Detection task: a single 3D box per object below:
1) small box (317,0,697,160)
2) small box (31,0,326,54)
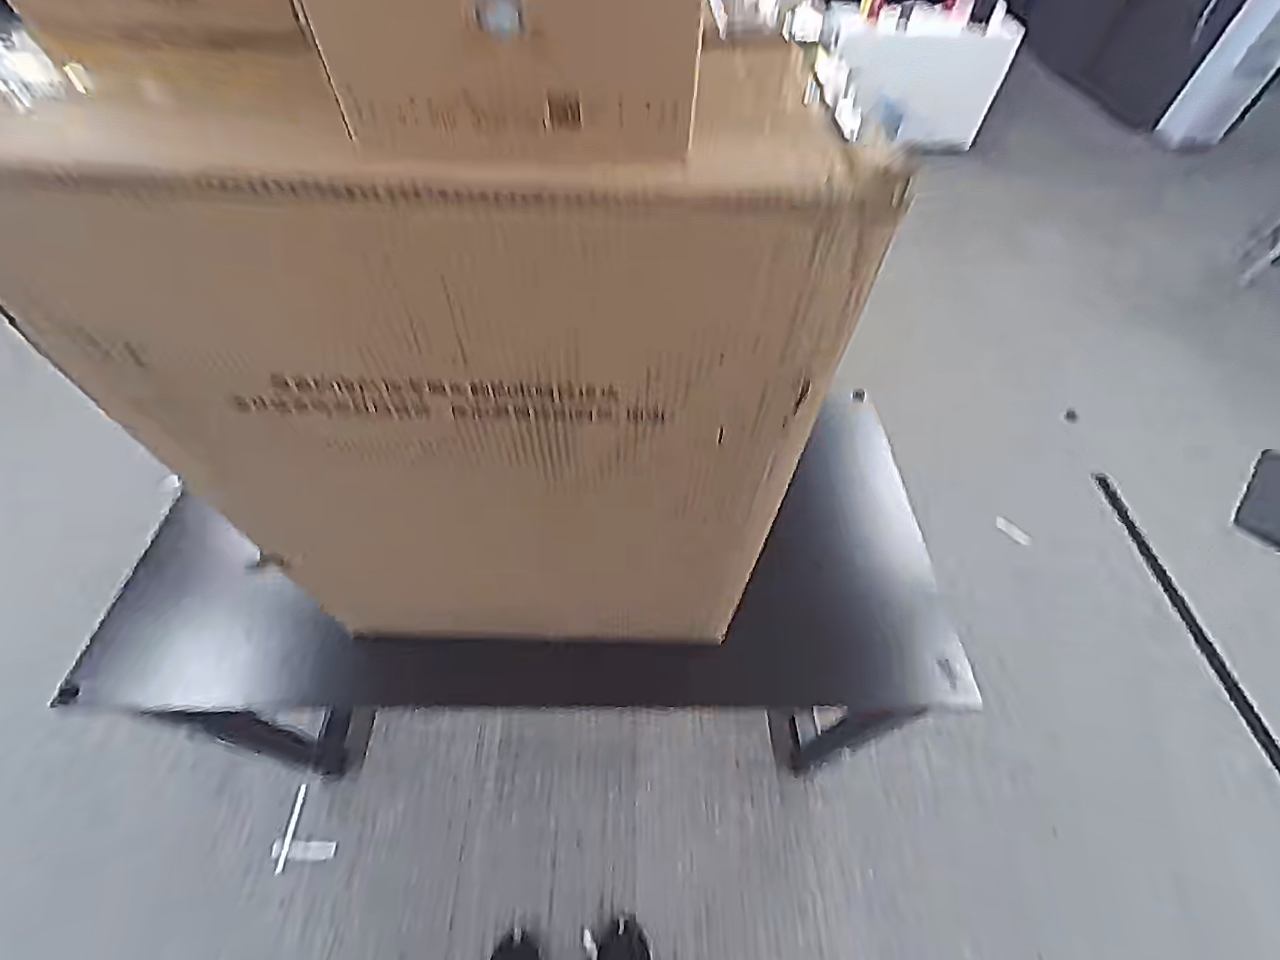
[{"bbox_3d":[-0.059,-0.278,0.253,0.168,0.176,0.179,-1,54,-2],"label":"small box"},{"bbox_3d":[-0.292,-0.387,0.322,0.168,0.176,0.179,-3,54,-4],"label":"small box"}]
